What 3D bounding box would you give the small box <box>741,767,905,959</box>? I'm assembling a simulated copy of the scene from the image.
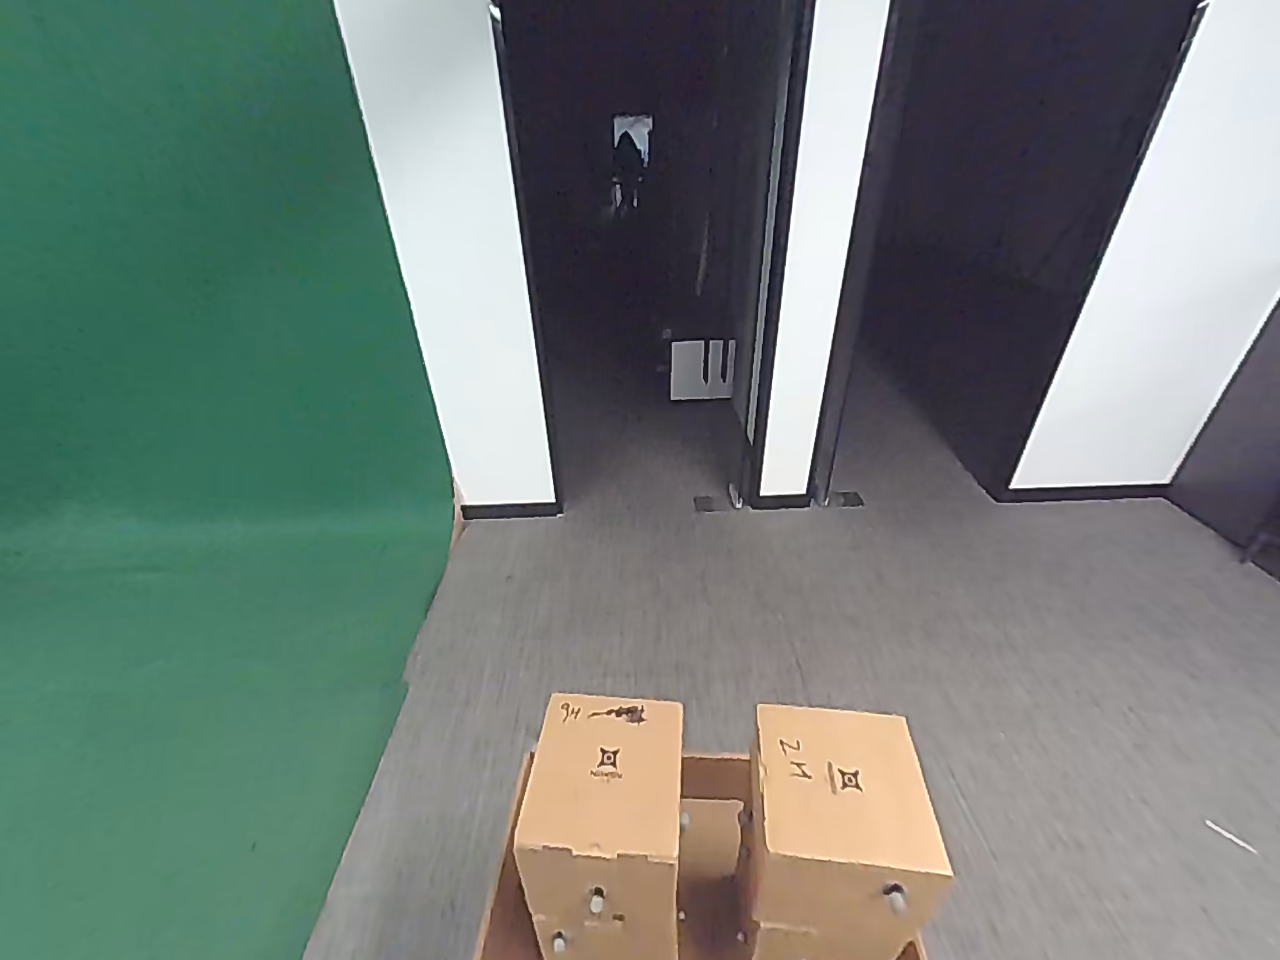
[{"bbox_3d":[0.225,0.518,0.720,0.168,0.176,0.179,1,34,6],"label":"small box"}]
